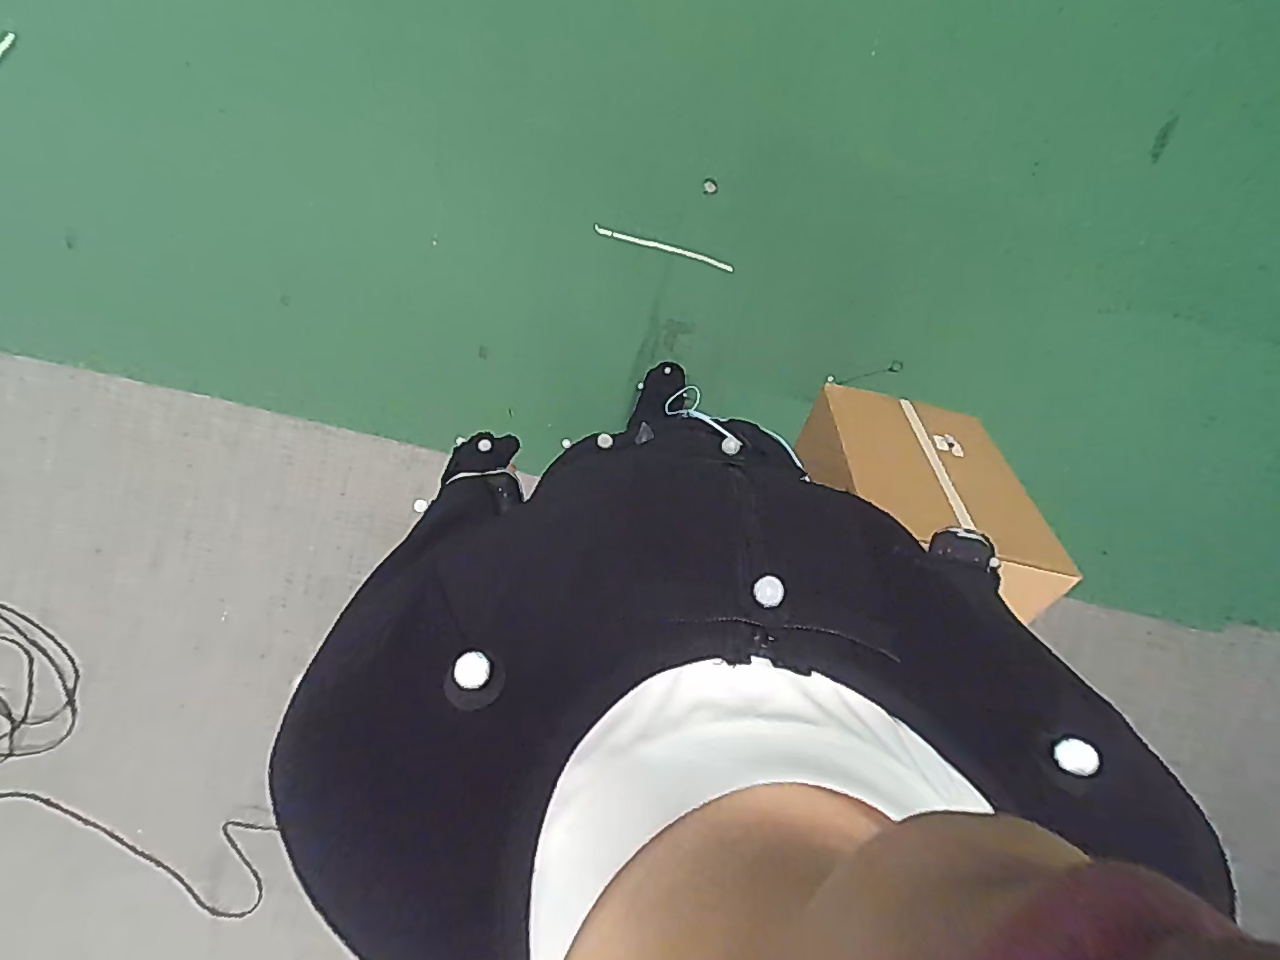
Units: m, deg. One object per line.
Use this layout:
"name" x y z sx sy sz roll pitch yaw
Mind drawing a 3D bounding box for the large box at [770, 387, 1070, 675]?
"large box" 0.451 0.085 1.000 0.320 0.408 0.320 13 130 -3
